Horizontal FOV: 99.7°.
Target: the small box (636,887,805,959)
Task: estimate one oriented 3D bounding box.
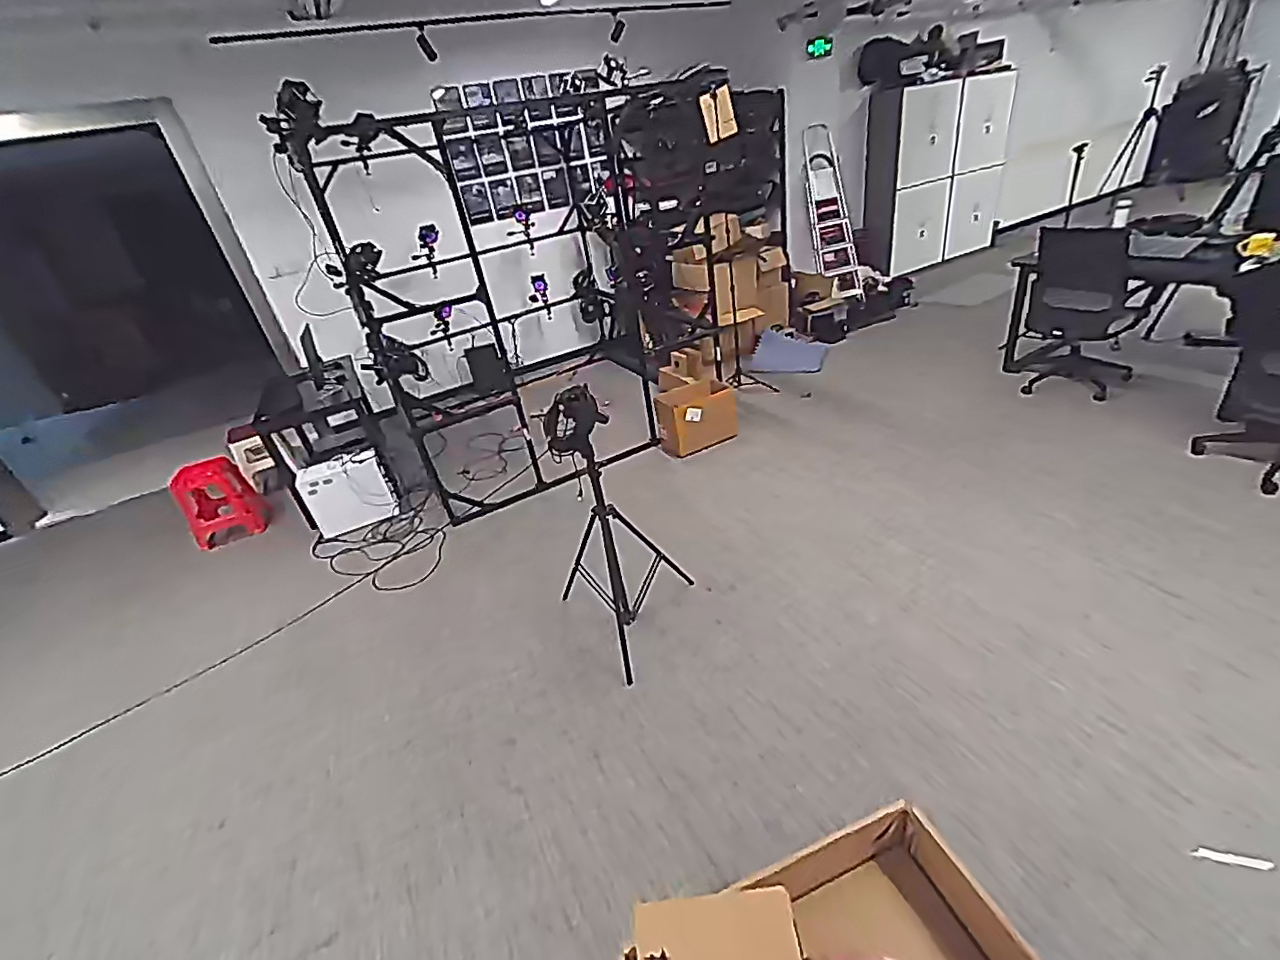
[{"bbox_3d":[0.092,0.578,0.588,0.179,0.176,0.168,-7,34,1],"label":"small box"}]
